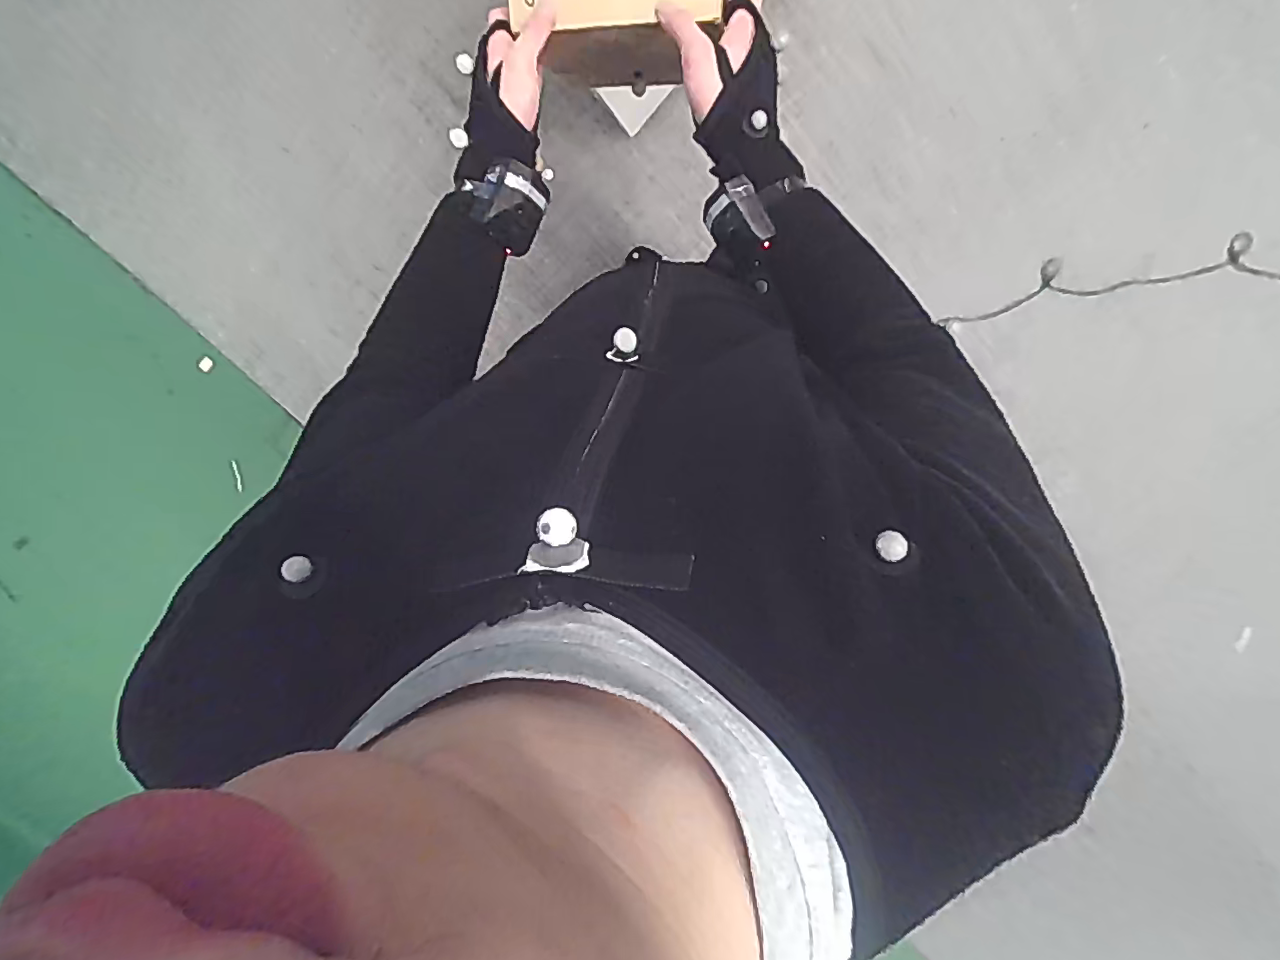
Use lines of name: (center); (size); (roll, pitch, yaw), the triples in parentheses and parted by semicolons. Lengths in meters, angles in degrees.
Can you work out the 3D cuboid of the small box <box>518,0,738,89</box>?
small box: (0.000, -0.465, 0.474); (0.179, 0.176, 0.168); (4, 113, 7)
